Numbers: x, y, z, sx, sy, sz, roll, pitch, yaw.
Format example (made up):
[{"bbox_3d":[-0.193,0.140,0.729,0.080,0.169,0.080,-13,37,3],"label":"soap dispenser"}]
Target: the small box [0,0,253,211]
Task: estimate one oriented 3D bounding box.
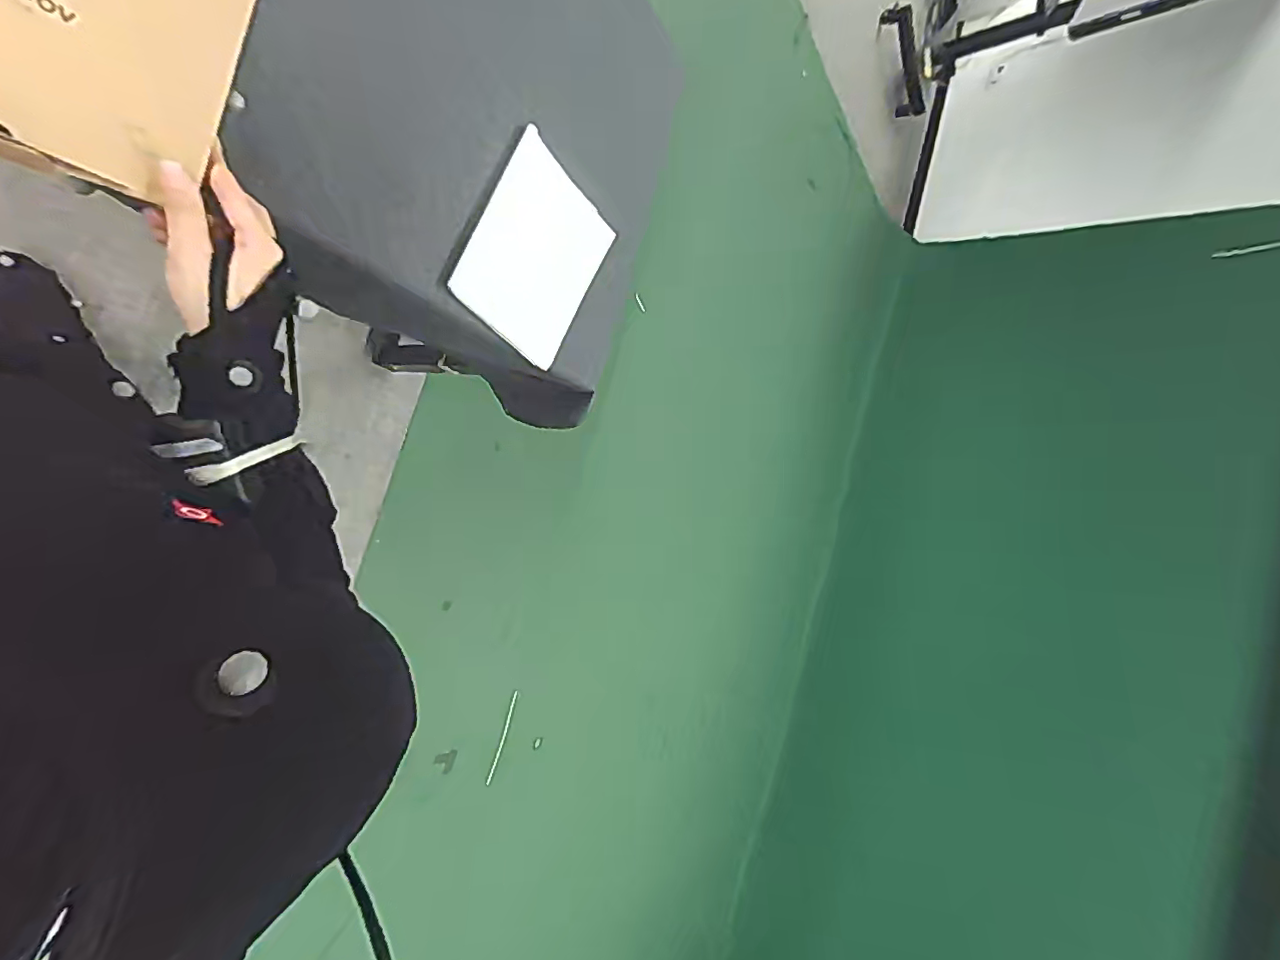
[{"bbox_3d":[-0.350,-0.289,0.313,0.168,0.176,0.179,13,104,-51],"label":"small box"}]
